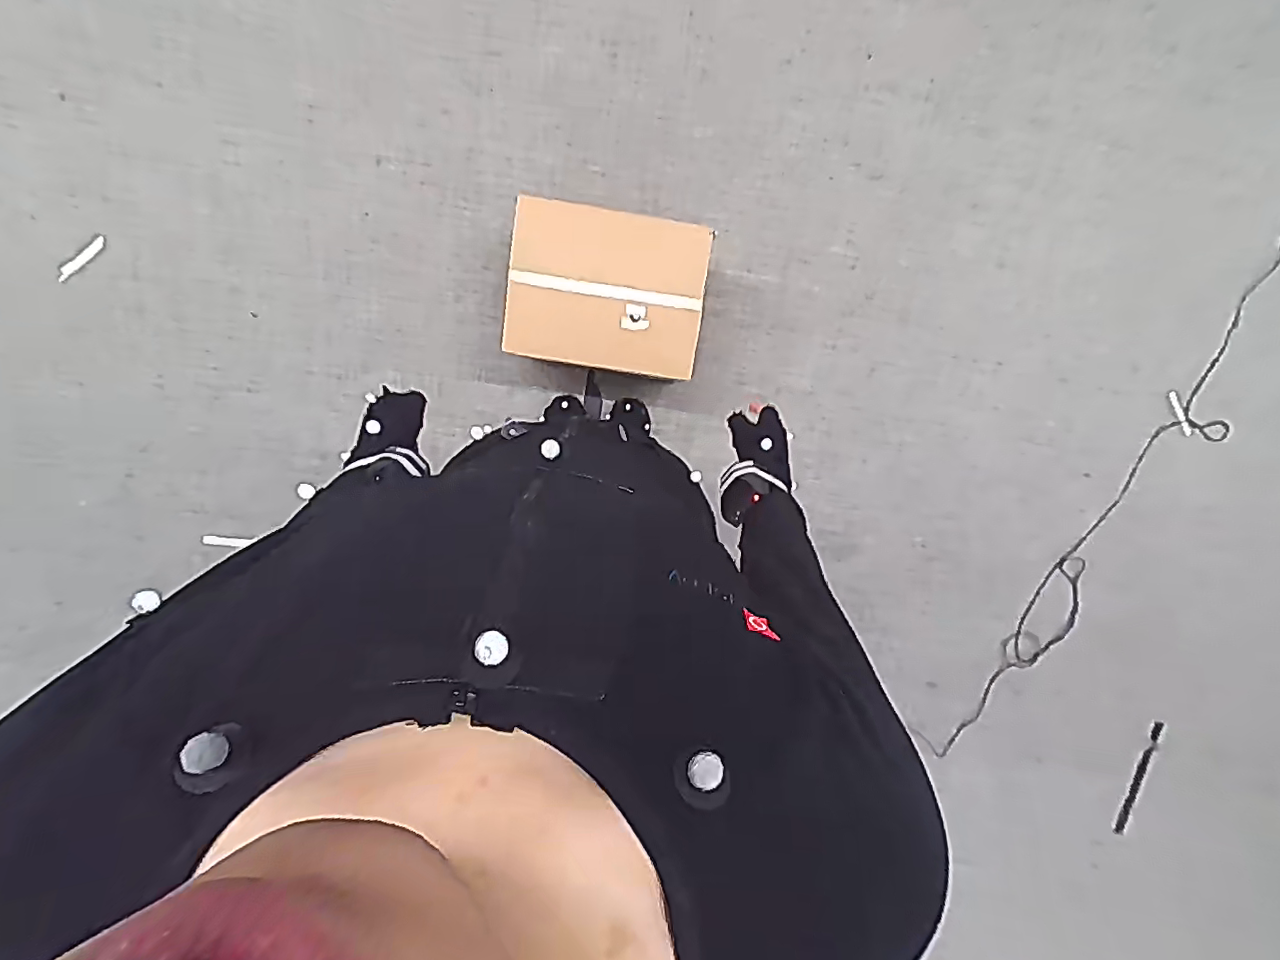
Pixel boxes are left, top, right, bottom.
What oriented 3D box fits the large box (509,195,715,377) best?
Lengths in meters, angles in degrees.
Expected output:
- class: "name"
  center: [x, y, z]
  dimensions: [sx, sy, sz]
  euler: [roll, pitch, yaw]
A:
- class: "large box"
  center: [-0.069, -0.424, 1.264]
  dimensions: [0.408, 0.320, 0.320]
  euler: [8, 100, -4]
